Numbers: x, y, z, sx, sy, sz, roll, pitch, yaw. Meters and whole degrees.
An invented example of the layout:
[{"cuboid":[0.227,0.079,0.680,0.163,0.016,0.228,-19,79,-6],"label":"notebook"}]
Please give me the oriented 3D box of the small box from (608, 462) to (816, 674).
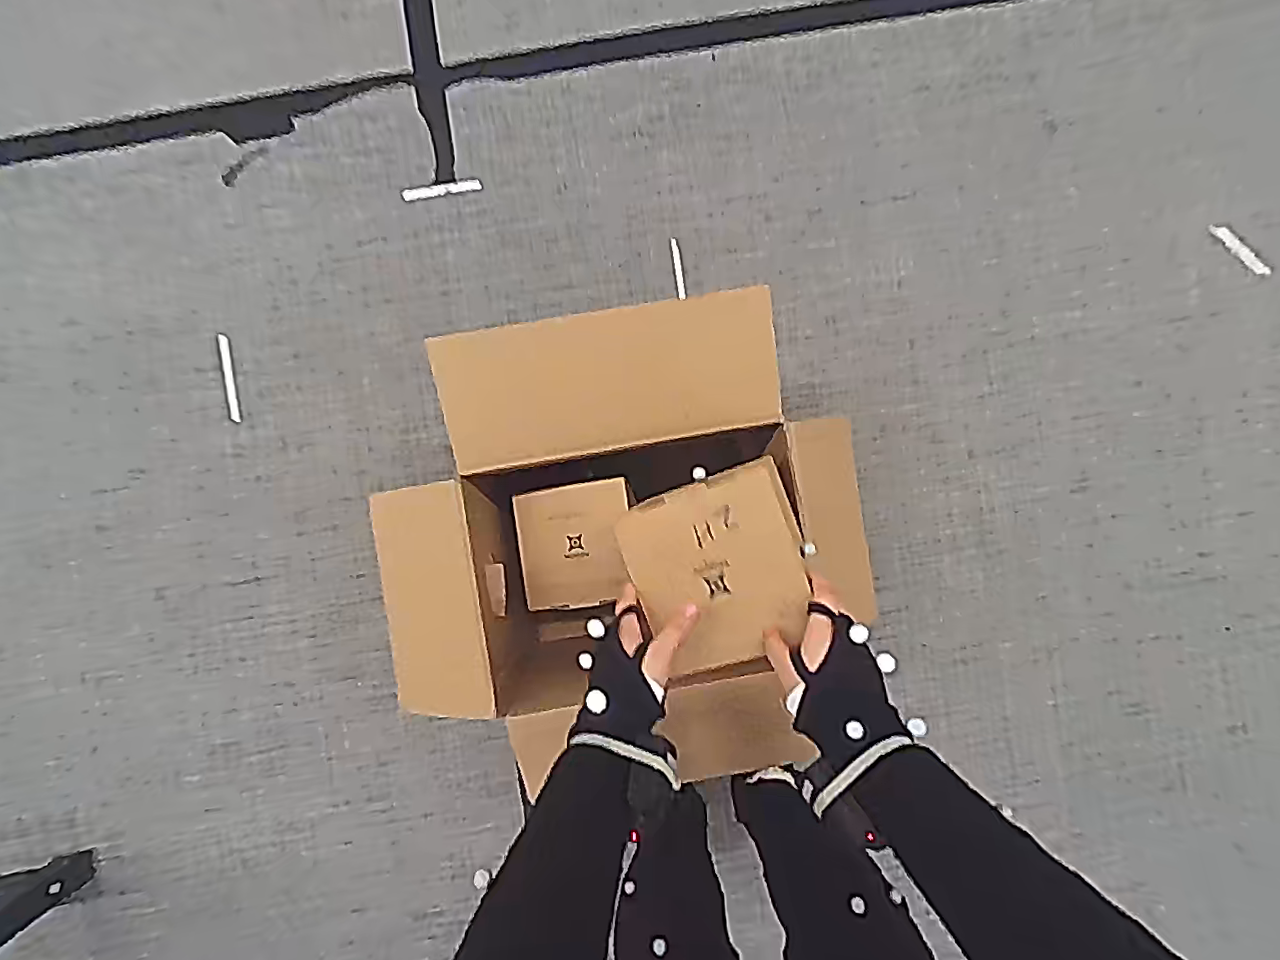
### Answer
[{"cuboid":[0.091,0.087,0.608,0.168,0.176,0.179,-21,87,18],"label":"small box"}]
